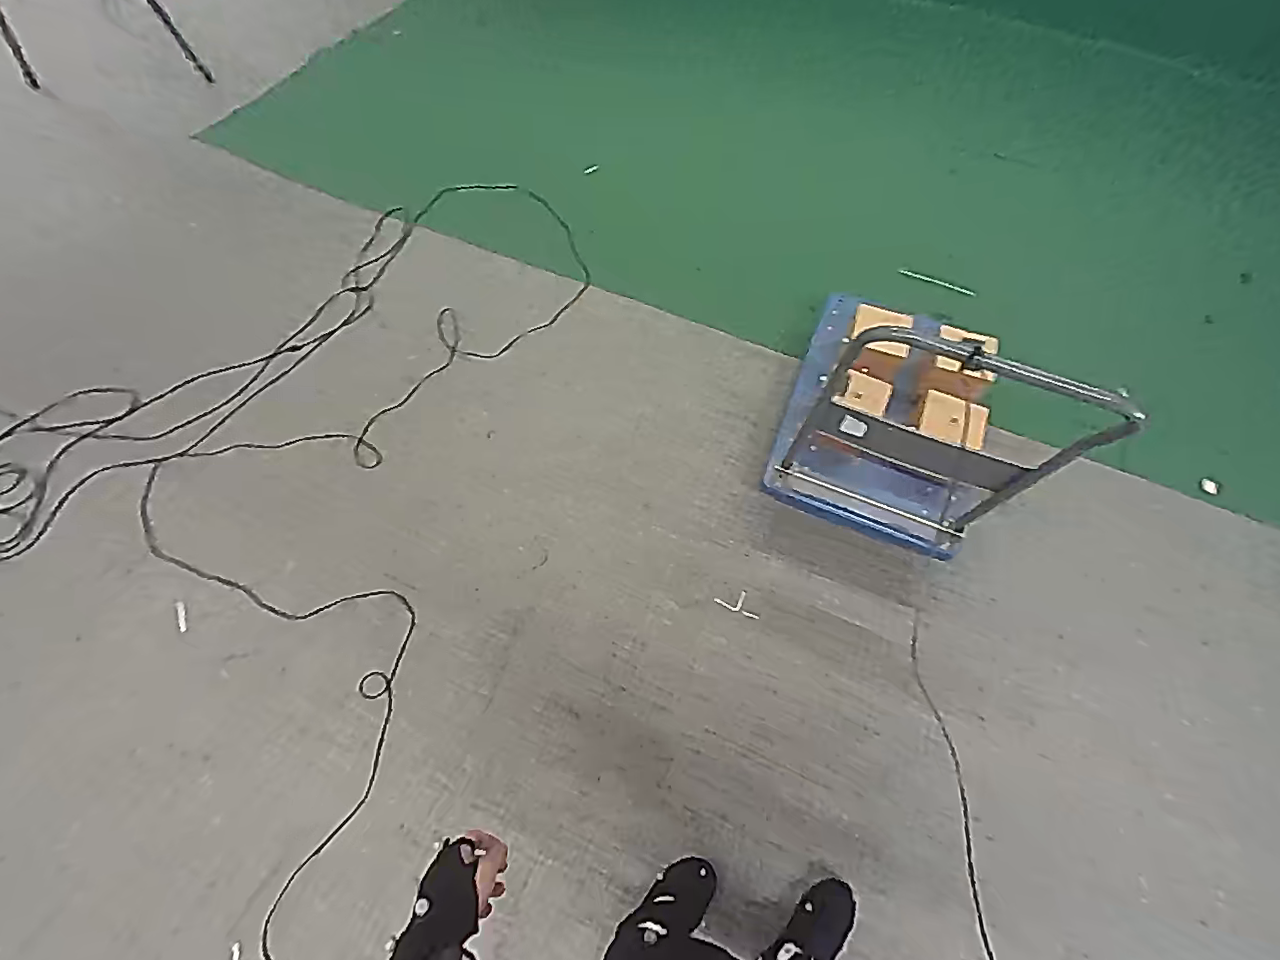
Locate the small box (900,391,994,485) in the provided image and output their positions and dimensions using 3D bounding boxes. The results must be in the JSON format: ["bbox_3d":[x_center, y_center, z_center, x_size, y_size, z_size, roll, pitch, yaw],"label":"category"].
[{"bbox_3d":[0.874,-0.117,1.551,0.168,0.176,0.179,22,65,10],"label":"small box"}]

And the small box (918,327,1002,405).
[{"bbox_3d":[0.982,-0.335,1.669,0.168,0.176,0.179,18,64,9],"label":"small box"}]

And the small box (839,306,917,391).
[{"bbox_3d":[0.745,-0.410,1.705,0.168,0.176,0.179,18,63,8],"label":"small box"}]
